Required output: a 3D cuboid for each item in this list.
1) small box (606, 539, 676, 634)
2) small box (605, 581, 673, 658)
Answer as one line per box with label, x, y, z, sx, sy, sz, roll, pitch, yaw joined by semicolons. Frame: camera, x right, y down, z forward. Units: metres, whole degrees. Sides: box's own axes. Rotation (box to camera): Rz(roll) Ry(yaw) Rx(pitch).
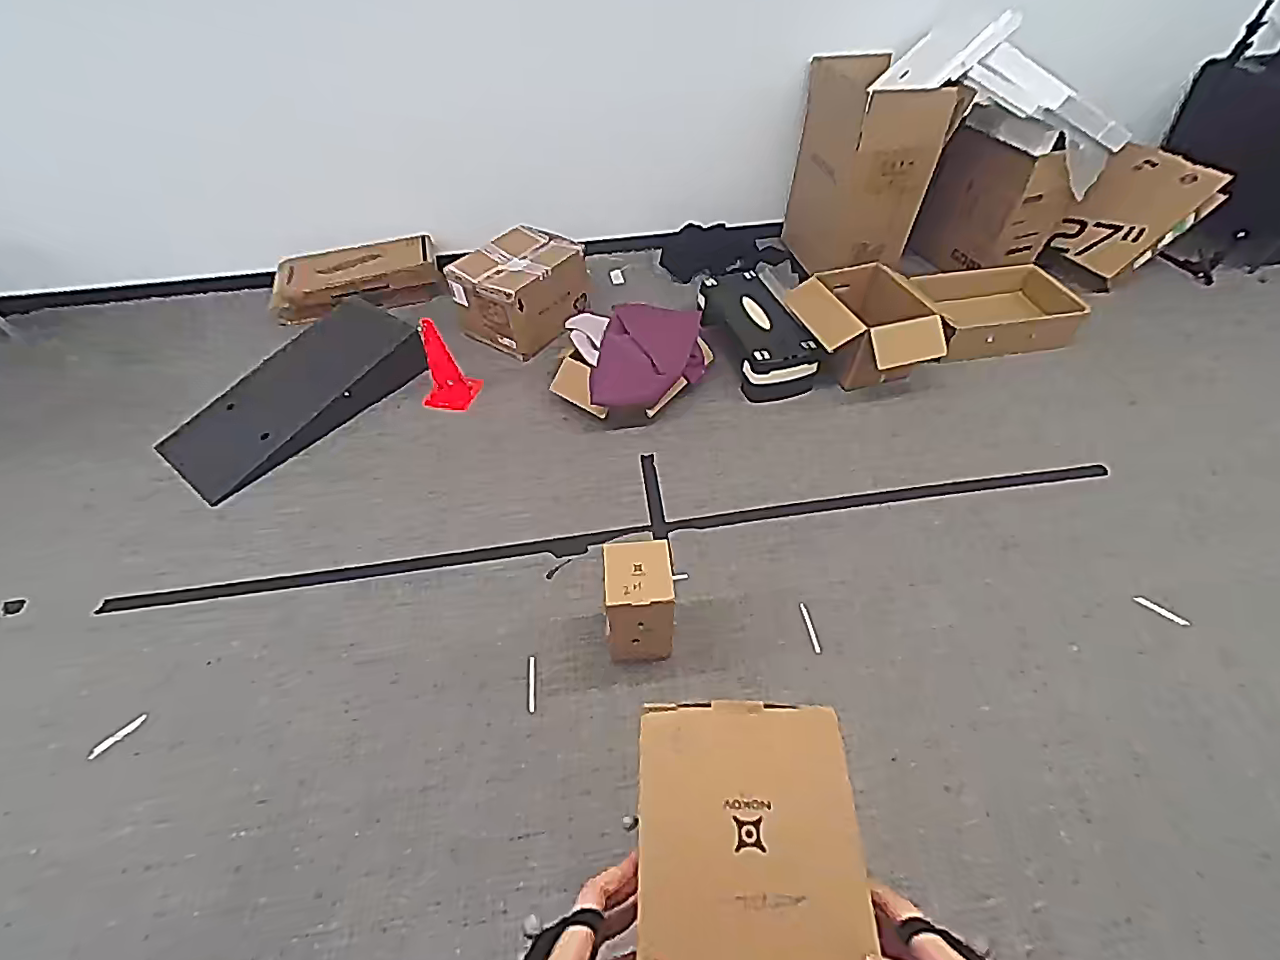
small box;-0.001;0.272;1.378;0.168;0.176;0.179;-4;50;-1
small box;-0.003;0.383;1.501;0.179;0.176;0.168;-4;50;-2
